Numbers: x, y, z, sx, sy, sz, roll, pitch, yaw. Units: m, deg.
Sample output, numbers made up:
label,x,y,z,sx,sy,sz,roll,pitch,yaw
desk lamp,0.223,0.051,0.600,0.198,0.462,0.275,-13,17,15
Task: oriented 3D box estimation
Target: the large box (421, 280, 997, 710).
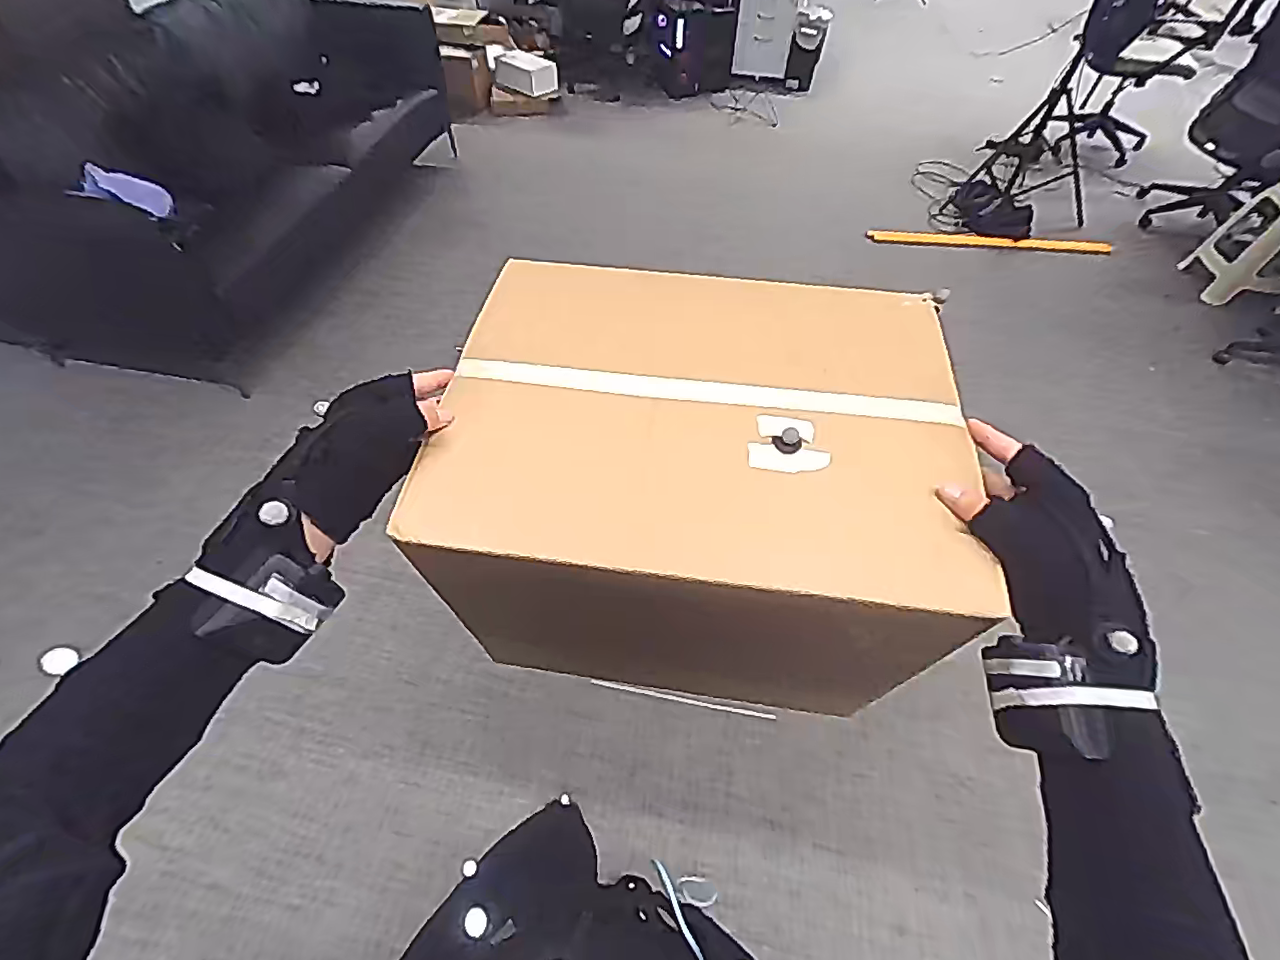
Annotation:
label,x,y,z,sx,sy,sz,roll,pitch,yaw
large box,0.055,0.027,0.572,0.408,0.320,0.320,7,56,4
